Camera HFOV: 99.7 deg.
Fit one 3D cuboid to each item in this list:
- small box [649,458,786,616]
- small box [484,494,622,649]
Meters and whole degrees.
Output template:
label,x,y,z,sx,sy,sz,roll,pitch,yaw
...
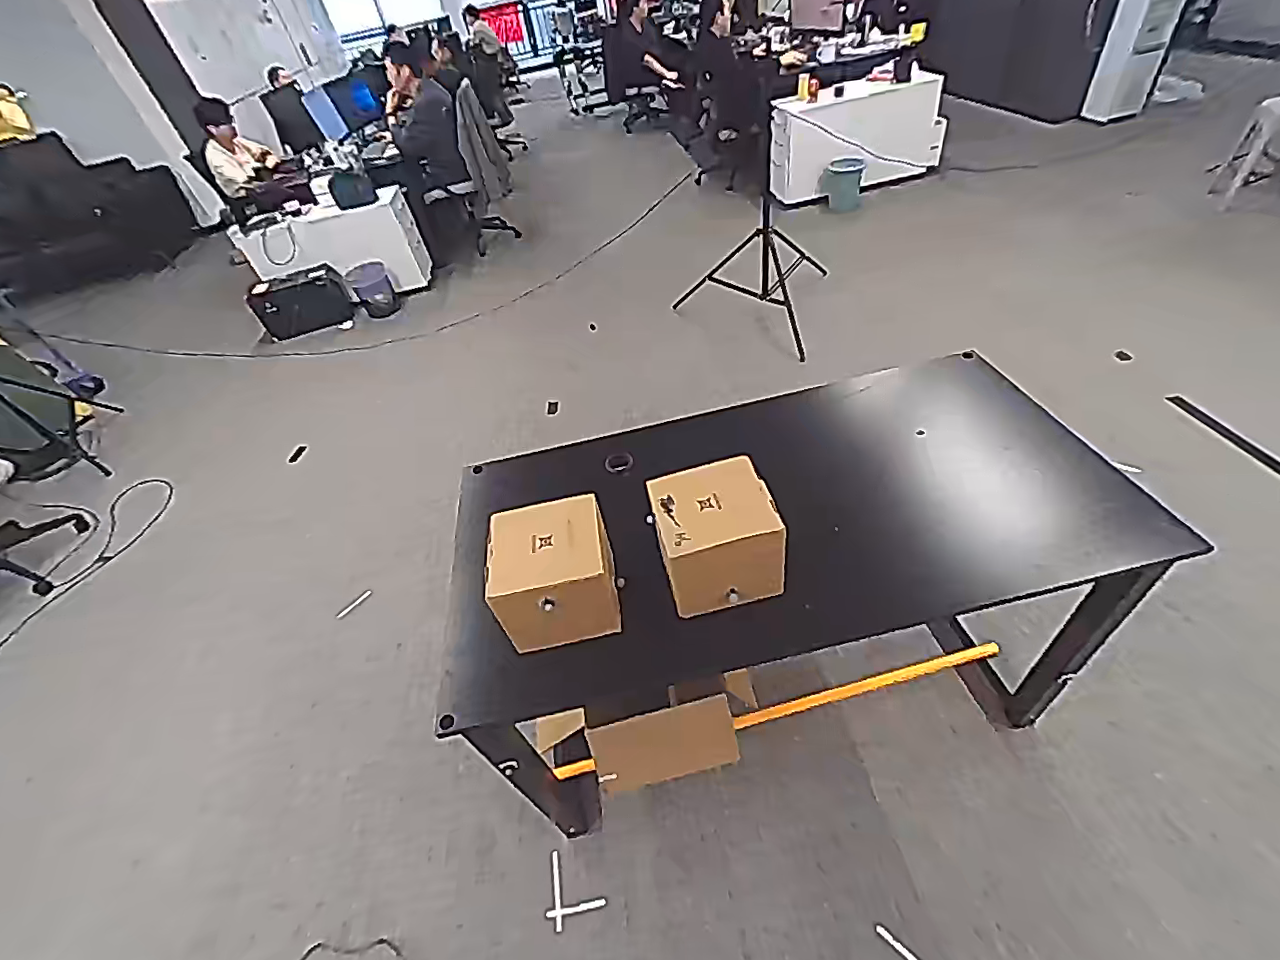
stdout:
label,x,y,z,sx,sy,sz,roll,pitch,yaw
small box,0.121,0.094,0.877,0.179,0.176,0.168,-14,44,-2
small box,-0.136,0.152,0.876,0.179,0.176,0.168,-12,45,-1
